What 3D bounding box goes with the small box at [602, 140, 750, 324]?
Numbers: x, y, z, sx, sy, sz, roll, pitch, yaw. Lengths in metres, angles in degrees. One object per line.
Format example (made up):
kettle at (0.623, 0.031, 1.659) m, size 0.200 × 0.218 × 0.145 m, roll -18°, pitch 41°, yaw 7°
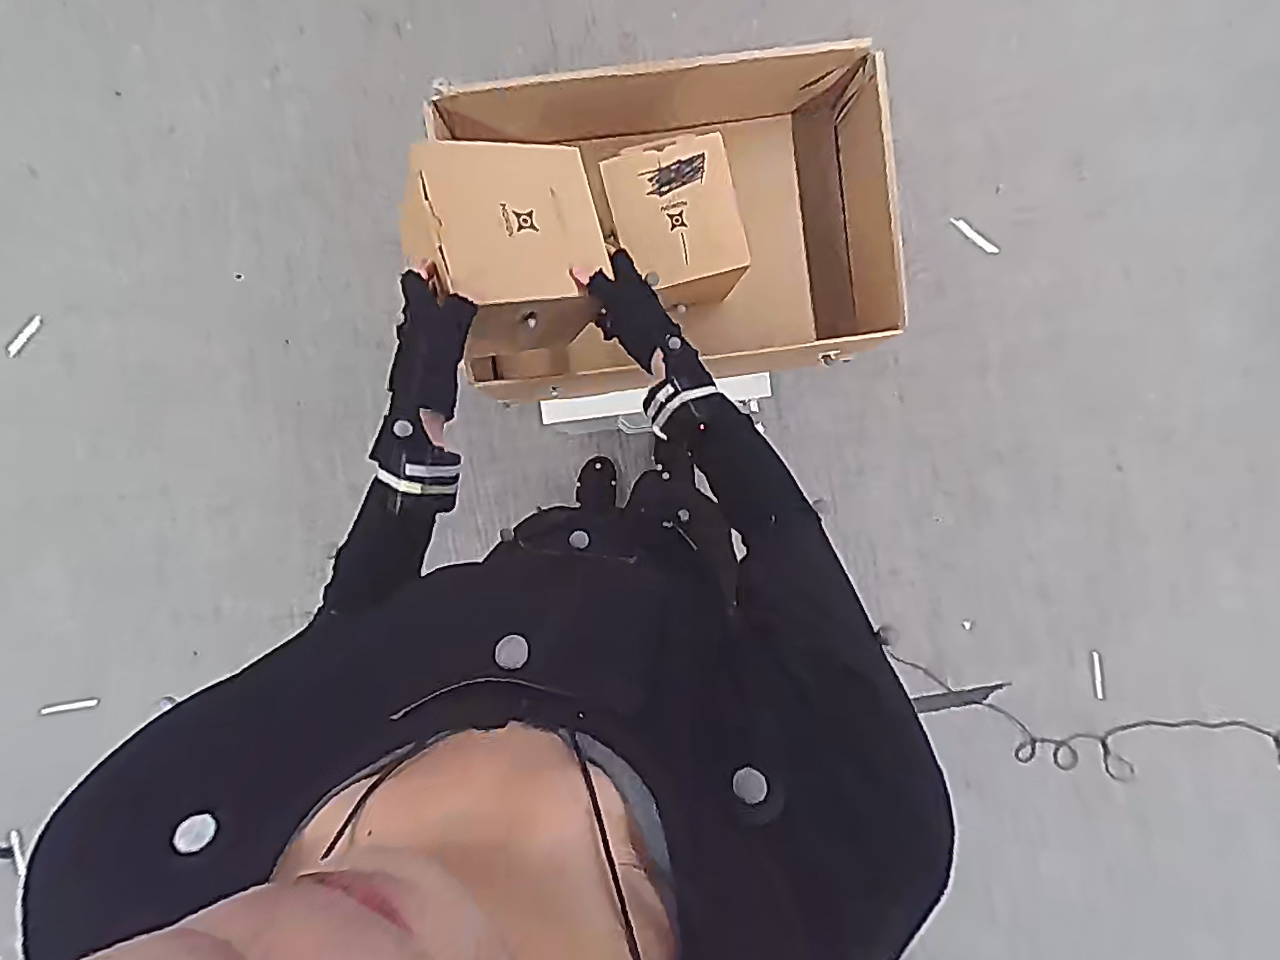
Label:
small box at (0.042, -0.345, 0.784) m, size 0.168 × 0.176 × 0.179 m, roll -15°, pitch 95°, yaw -2°
